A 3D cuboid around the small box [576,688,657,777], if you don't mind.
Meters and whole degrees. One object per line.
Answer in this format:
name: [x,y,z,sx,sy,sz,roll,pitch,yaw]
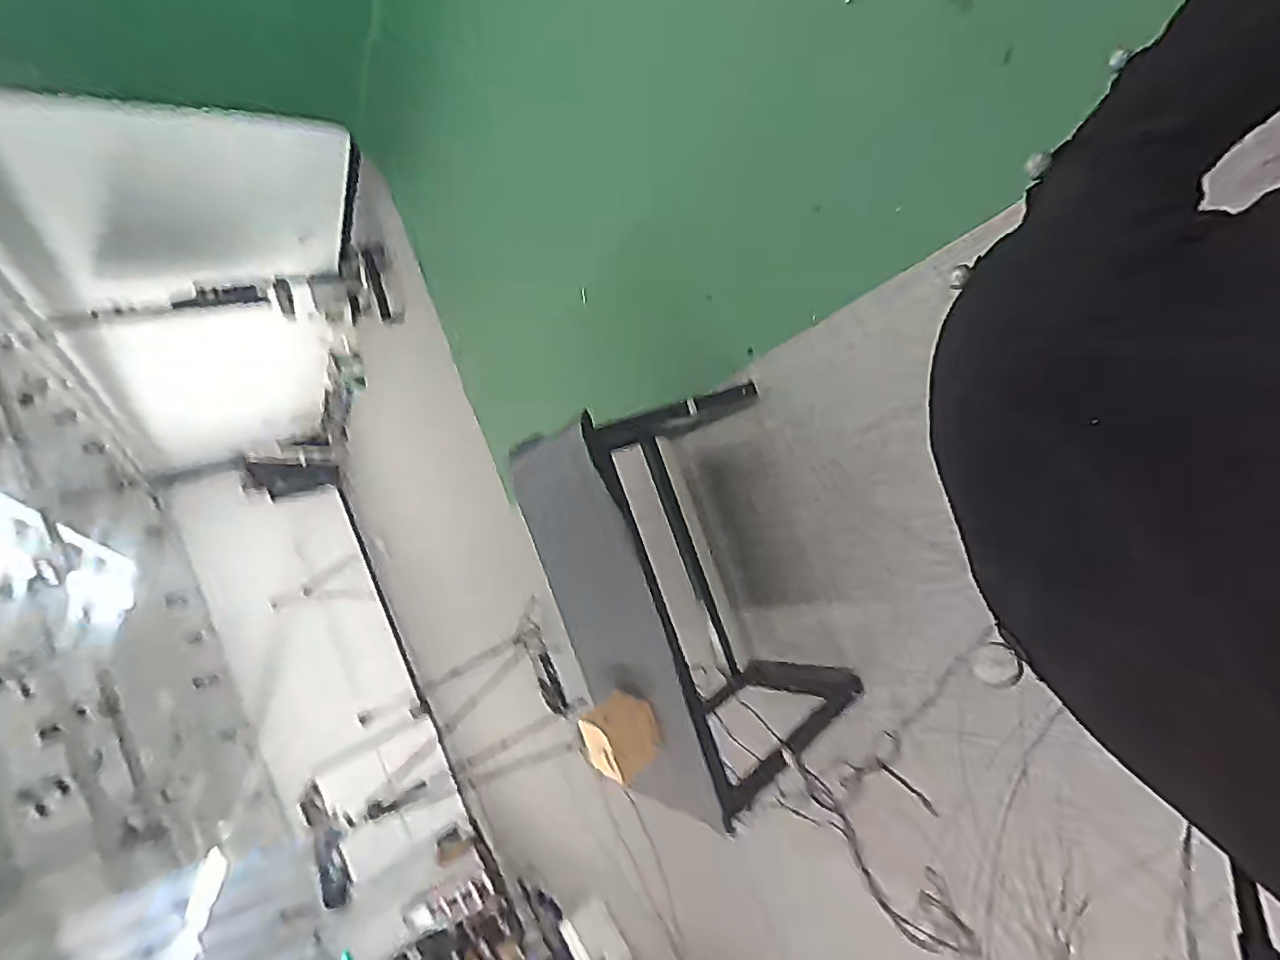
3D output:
small box: [-0.064,0.764,1.661,0.179,0.176,0.168,-12,97,55]
